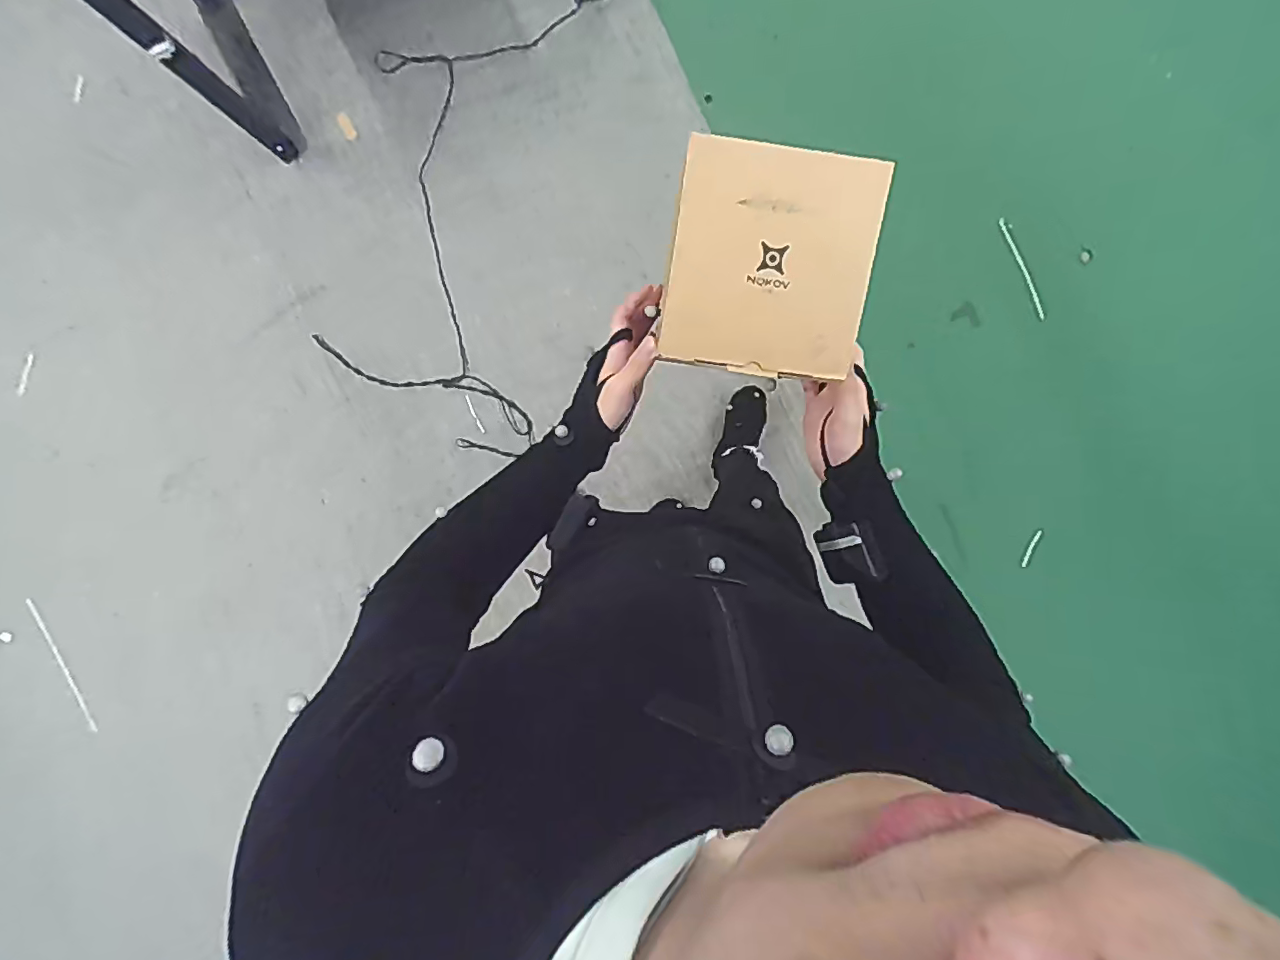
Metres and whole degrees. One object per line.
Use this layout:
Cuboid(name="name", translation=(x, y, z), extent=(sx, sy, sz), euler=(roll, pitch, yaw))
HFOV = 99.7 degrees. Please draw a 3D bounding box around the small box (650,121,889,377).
Cuboid(name="small box", translation=(0.103, -0.199, 0.515), extent=(0.168, 0.176, 0.179), euler=(8, 102, -2))
